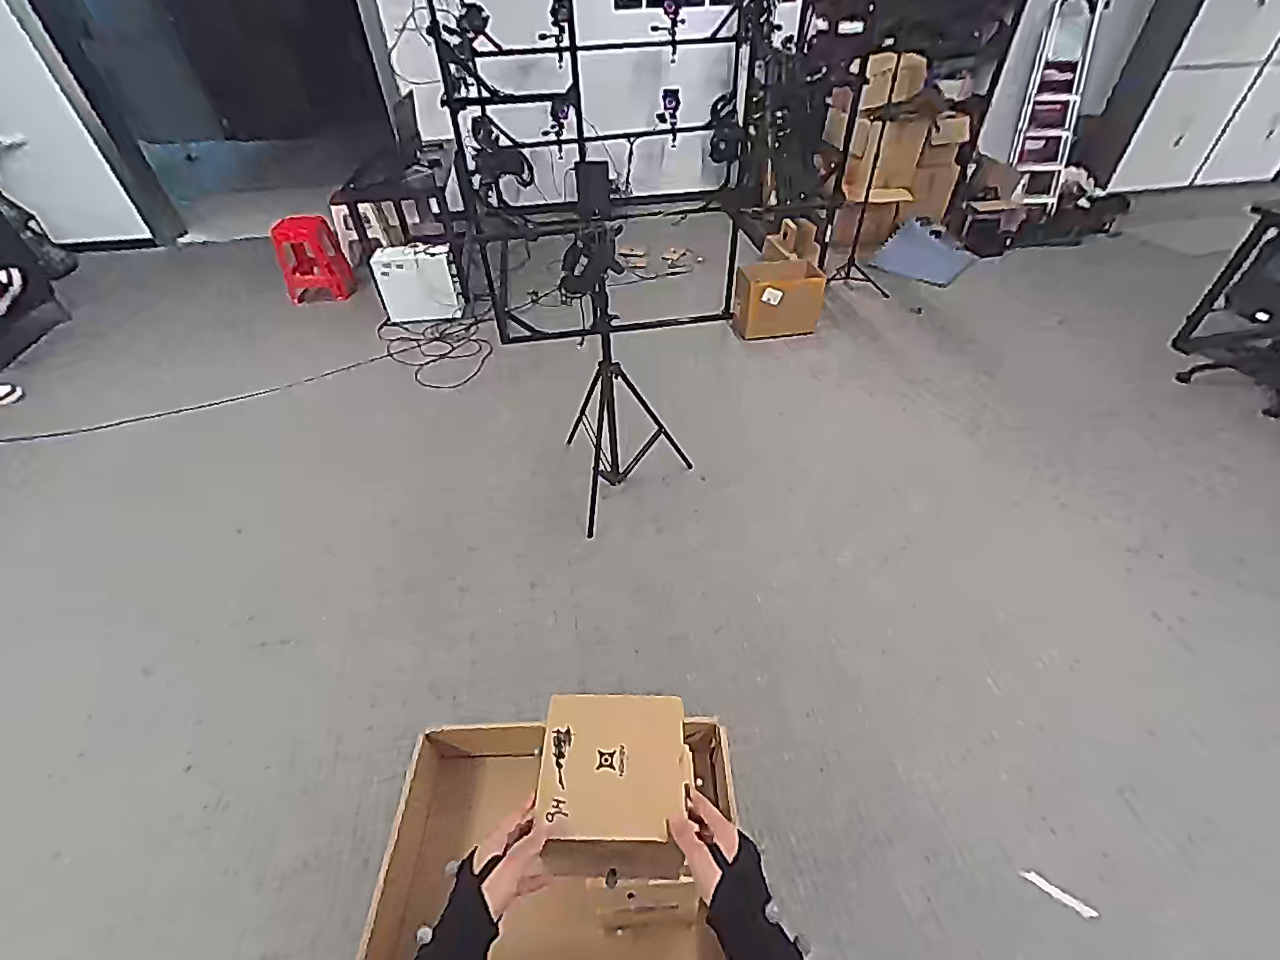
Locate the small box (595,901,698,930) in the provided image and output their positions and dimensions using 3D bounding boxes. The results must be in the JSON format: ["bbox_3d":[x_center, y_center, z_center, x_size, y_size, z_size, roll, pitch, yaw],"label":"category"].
[{"bbox_3d":[0.010,0.671,0.953,0.168,0.176,0.179,-3,42,-2],"label":"small box"}]

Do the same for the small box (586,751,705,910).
[{"bbox_3d":[0.008,0.550,0.844,0.168,0.176,0.179,-3,42,-1],"label":"small box"}]

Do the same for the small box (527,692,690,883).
[{"bbox_3d":[-0.034,0.390,0.686,0.179,0.176,0.168,2,41,0],"label":"small box"}]
